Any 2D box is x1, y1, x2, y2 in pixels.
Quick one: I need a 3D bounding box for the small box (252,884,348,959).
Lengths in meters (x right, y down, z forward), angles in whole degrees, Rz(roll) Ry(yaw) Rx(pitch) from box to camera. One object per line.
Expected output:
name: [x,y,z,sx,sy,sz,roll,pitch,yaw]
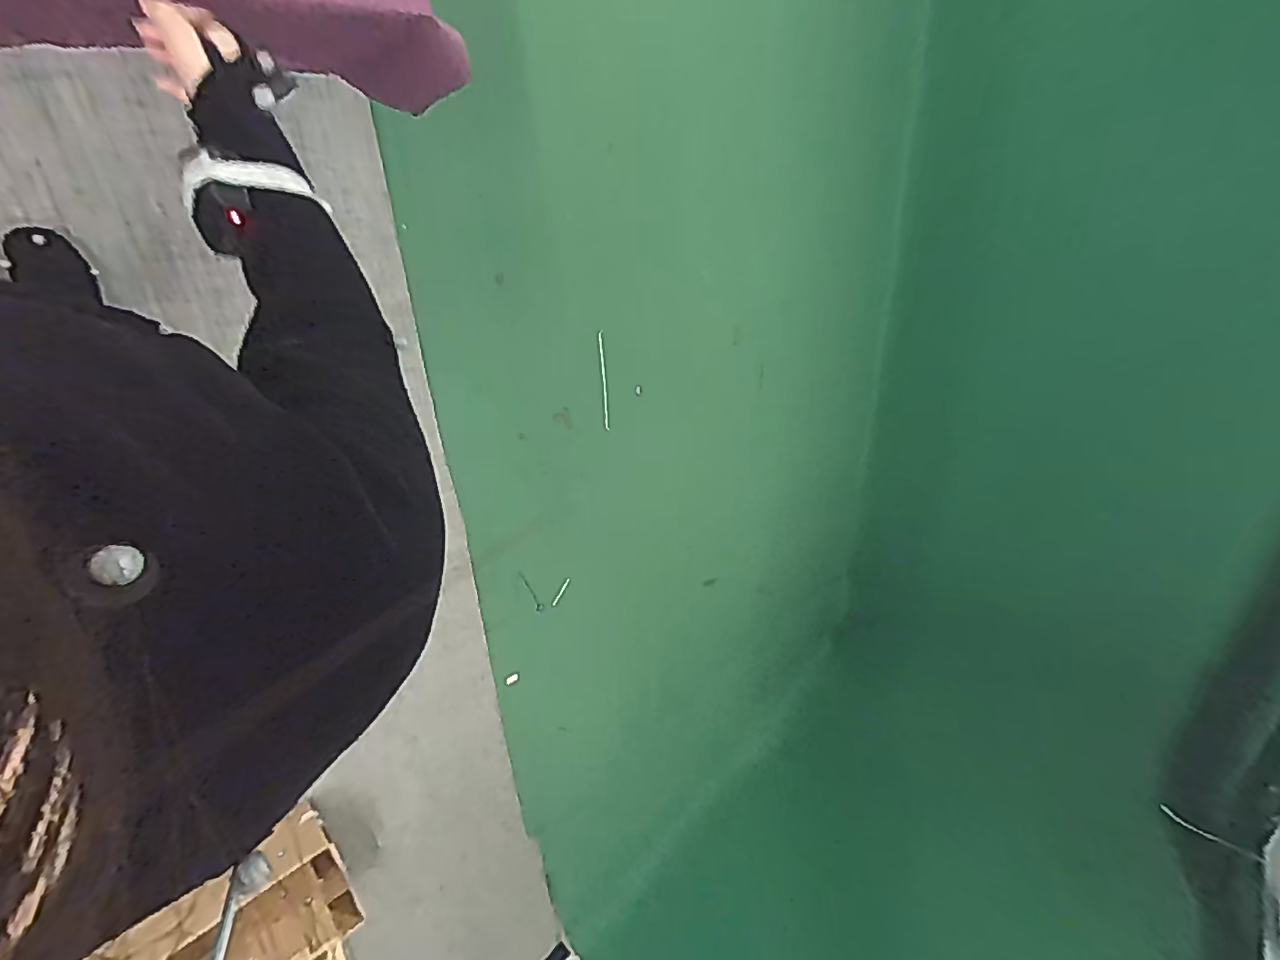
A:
small box: [-0.895,1.221,1.425,0.168,0.176,0.179,-18,120,-41]
